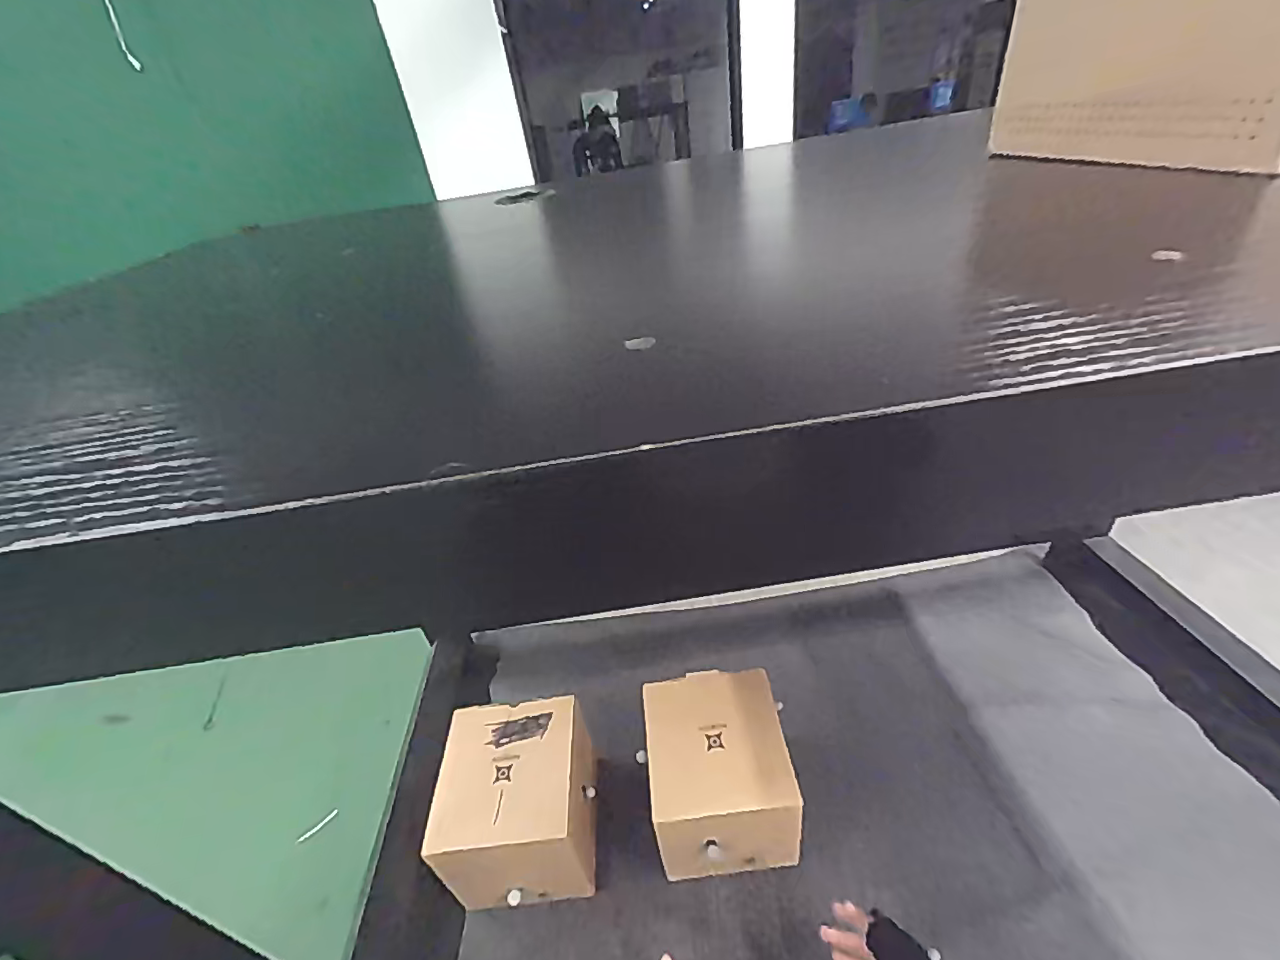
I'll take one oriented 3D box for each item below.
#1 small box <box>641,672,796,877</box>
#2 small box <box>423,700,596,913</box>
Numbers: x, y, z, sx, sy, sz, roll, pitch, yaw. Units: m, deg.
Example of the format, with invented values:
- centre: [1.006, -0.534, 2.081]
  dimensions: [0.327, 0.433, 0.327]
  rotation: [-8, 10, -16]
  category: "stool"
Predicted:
- centre: [0.098, 0.382, 0.699]
  dimensions: [0.168, 0.176, 0.179]
  rotation: [-8, 34, 1]
  category: "small box"
- centre: [-0.152, 0.419, 0.701]
  dimensions: [0.168, 0.176, 0.179]
  rotation: [-8, 35, 2]
  category: "small box"
